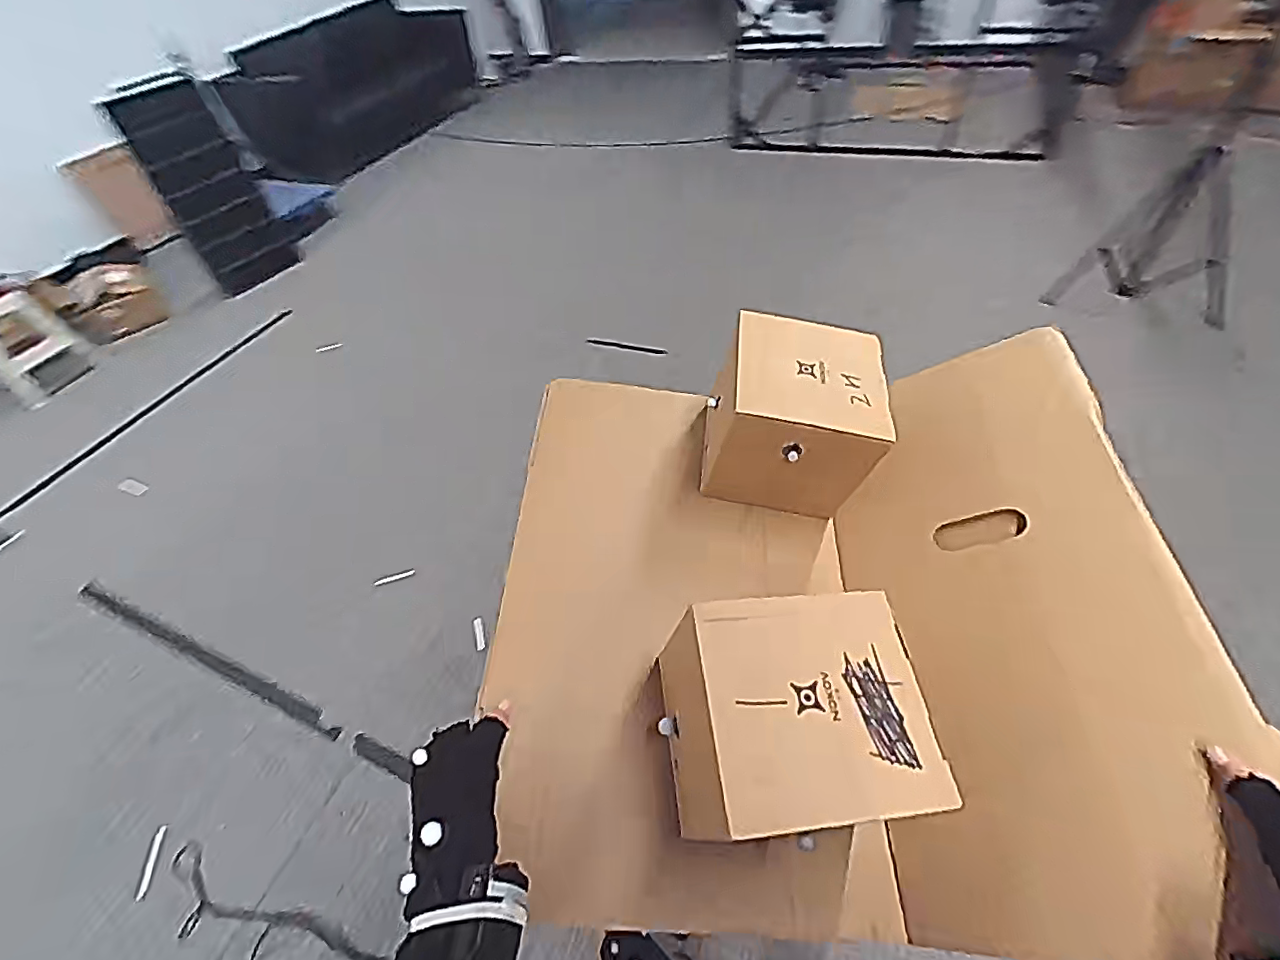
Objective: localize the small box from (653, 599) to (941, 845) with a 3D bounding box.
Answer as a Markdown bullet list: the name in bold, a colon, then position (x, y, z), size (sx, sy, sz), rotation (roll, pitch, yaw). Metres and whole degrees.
- **small box**: position (0.118, 0.218, 0.489), size (0.179, 0.176, 0.168), rotation (-2, 57, -10)
